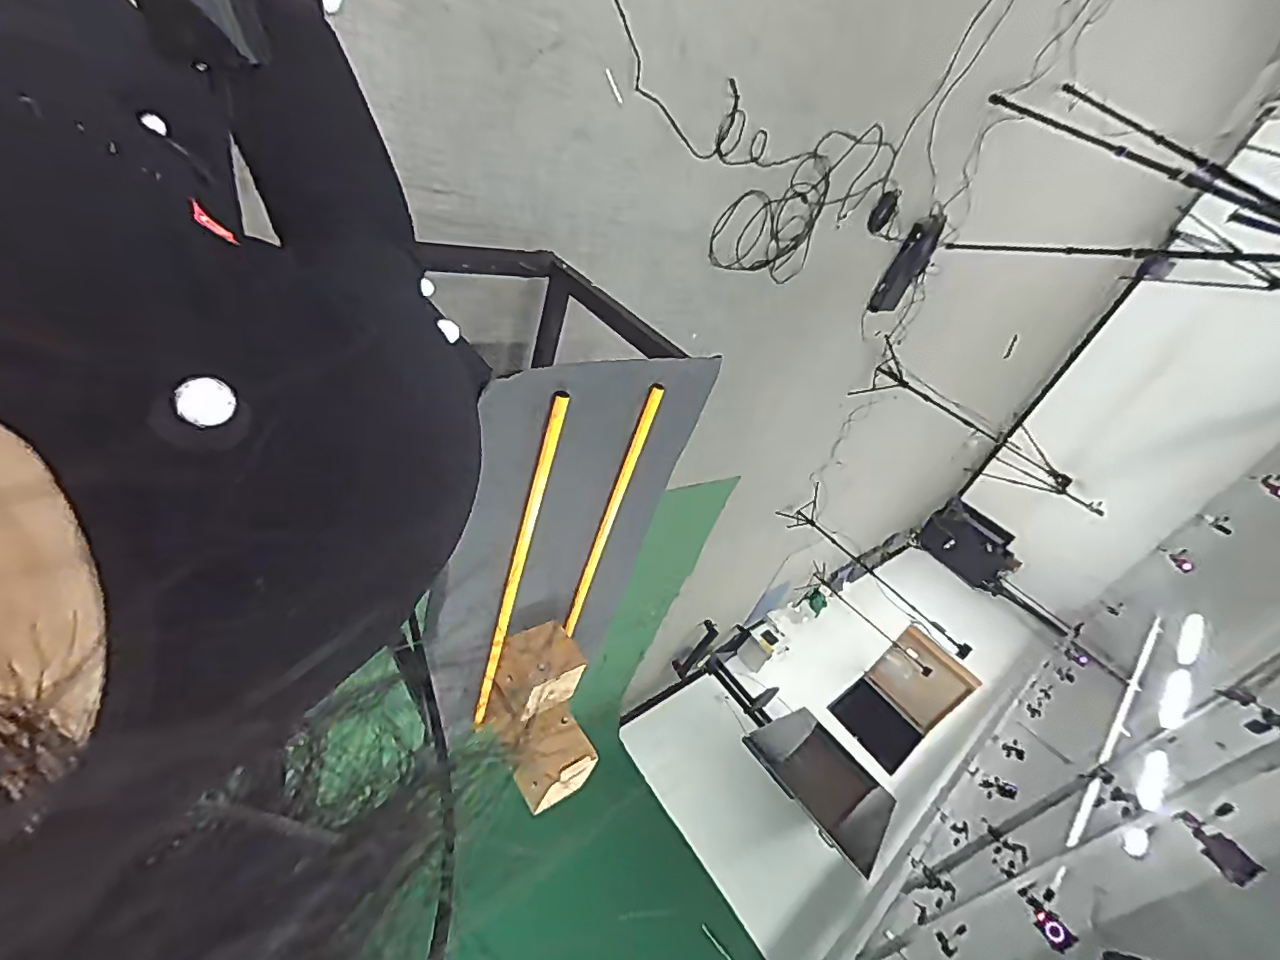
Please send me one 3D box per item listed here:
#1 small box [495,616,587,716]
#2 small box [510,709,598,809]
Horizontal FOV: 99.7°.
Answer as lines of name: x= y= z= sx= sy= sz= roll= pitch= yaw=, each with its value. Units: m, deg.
small box: x=-0.283 y=0.513 z=1.513 sx=0.179 sy=0.176 sz=0.168 roll=-11 pitch=136 yaw=-42
small box: x=-0.253 y=0.790 z=1.554 sx=0.168 sy=0.176 sz=0.179 roll=-9 pitch=134 yaw=-43
